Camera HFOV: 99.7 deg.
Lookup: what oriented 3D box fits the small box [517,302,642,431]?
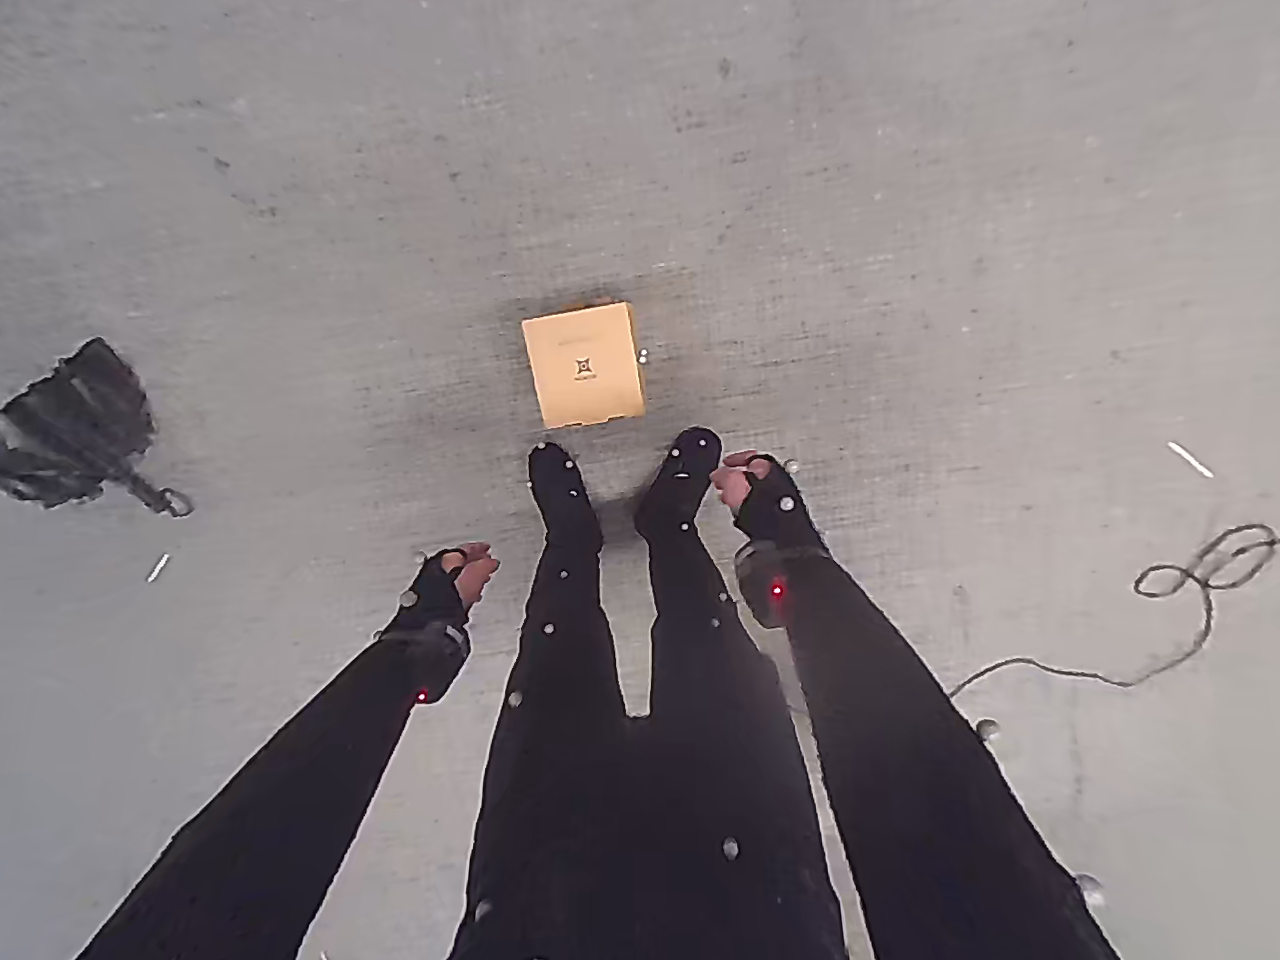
[{"bbox_3d":[-0.090,-0.196,0.910,0.168,0.176,0.179,-11,106,3],"label":"small box"}]
